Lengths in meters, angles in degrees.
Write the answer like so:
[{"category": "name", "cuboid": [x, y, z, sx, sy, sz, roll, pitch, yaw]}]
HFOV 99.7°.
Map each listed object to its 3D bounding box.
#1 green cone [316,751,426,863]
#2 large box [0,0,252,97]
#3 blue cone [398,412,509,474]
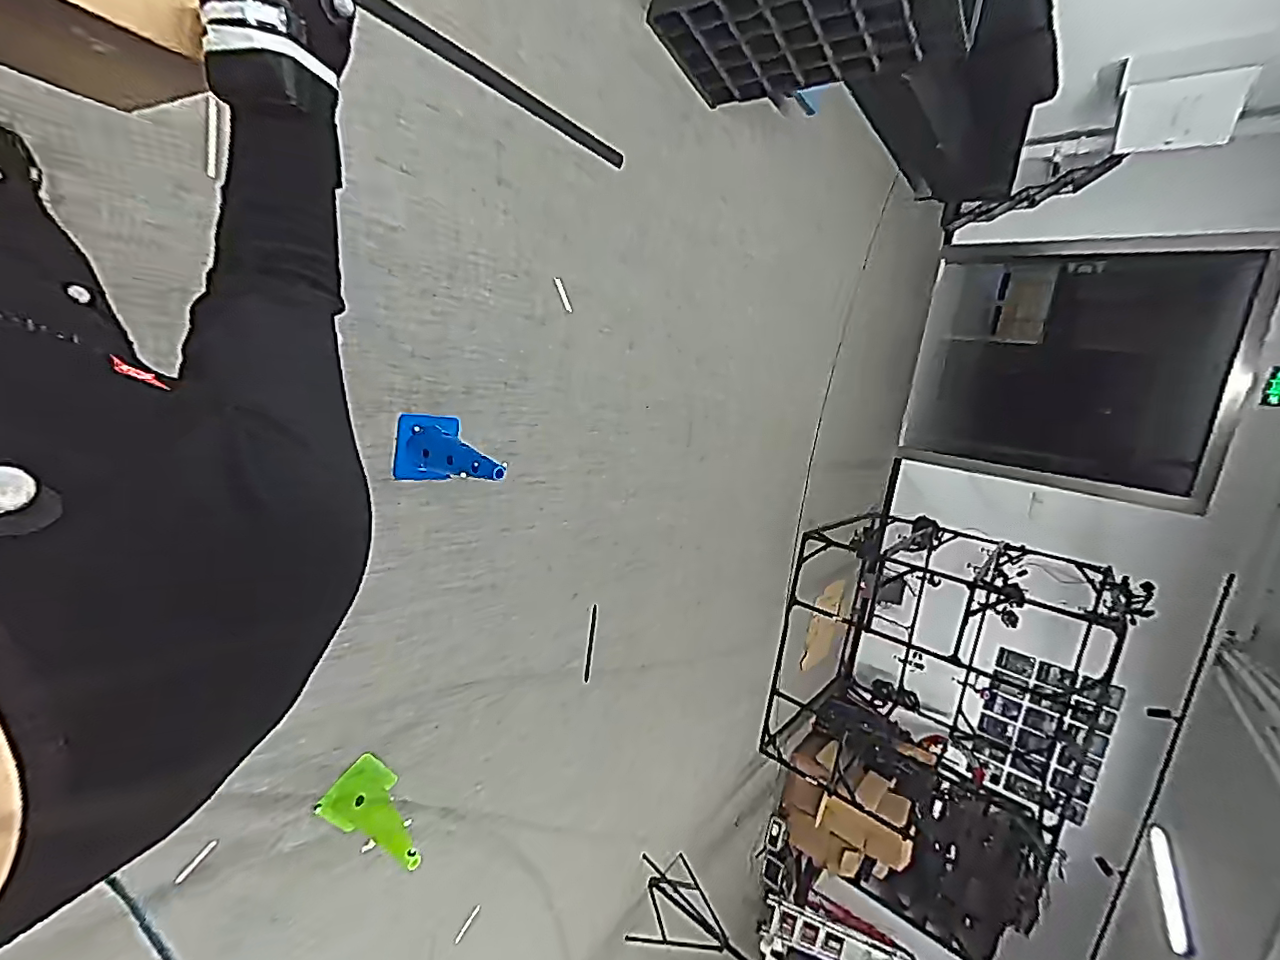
[{"category": "green cone", "cuboid": [-0.764, 1.027, 1.626, 0.202, 0.368, 0.200, -49, 138, -32]}, {"category": "large box", "cuboid": [-0.486, -0.475, 0.278, 0.408, 0.320, 0.320, -5, 112, -55]}, {"category": "blue cone", "cuboid": [-0.518, -0.075, 1.558, 0.192, 0.380, 0.193, 0, 103, -54]}]
